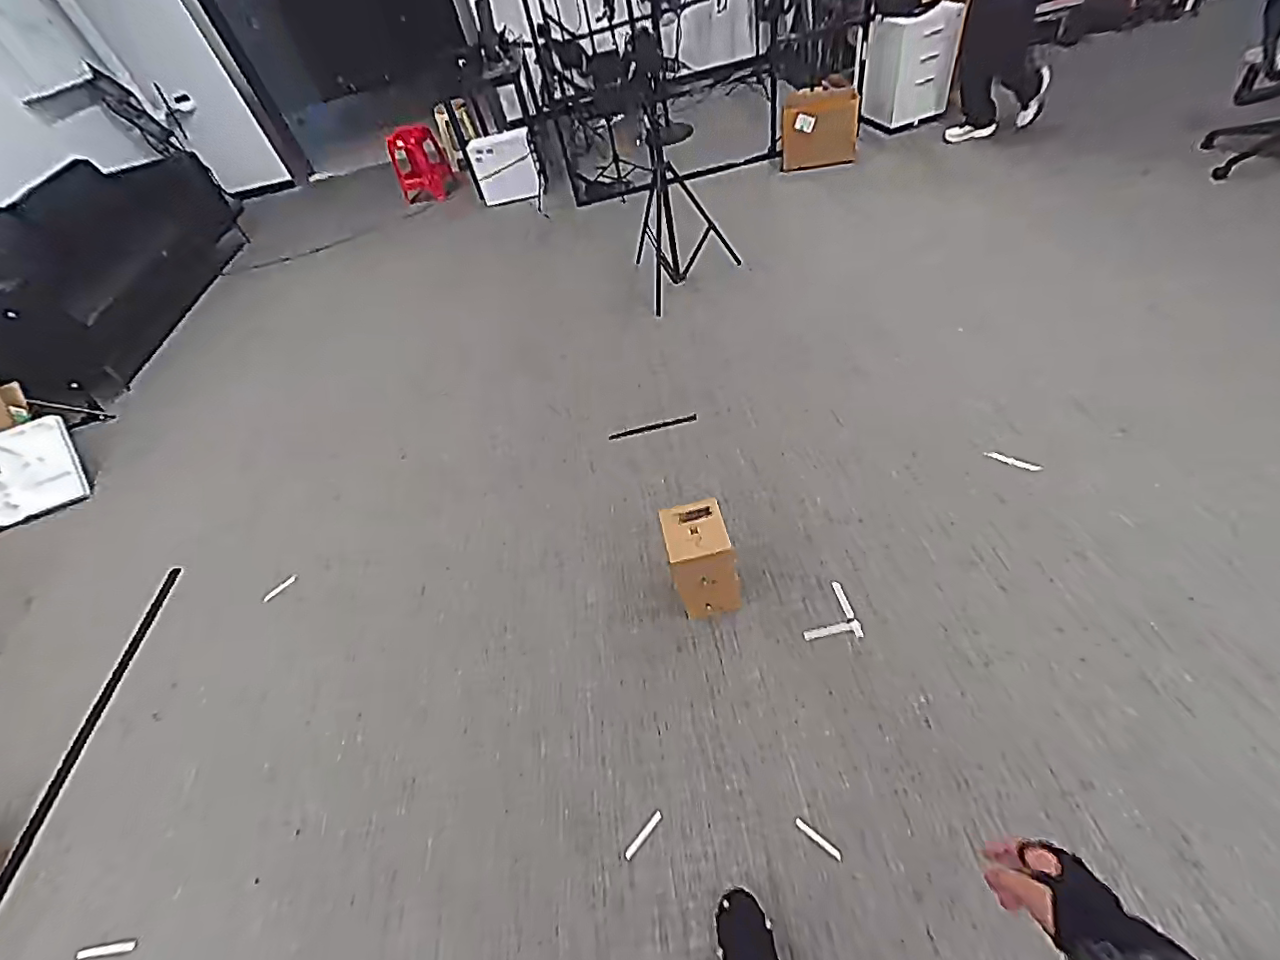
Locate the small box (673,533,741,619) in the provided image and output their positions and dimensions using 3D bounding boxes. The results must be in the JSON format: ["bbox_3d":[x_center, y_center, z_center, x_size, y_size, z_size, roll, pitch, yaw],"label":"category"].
[{"bbox_3d":[0.200,0.288,1.615,0.168,0.176,0.179,-13,47,2],"label":"small box"}]
